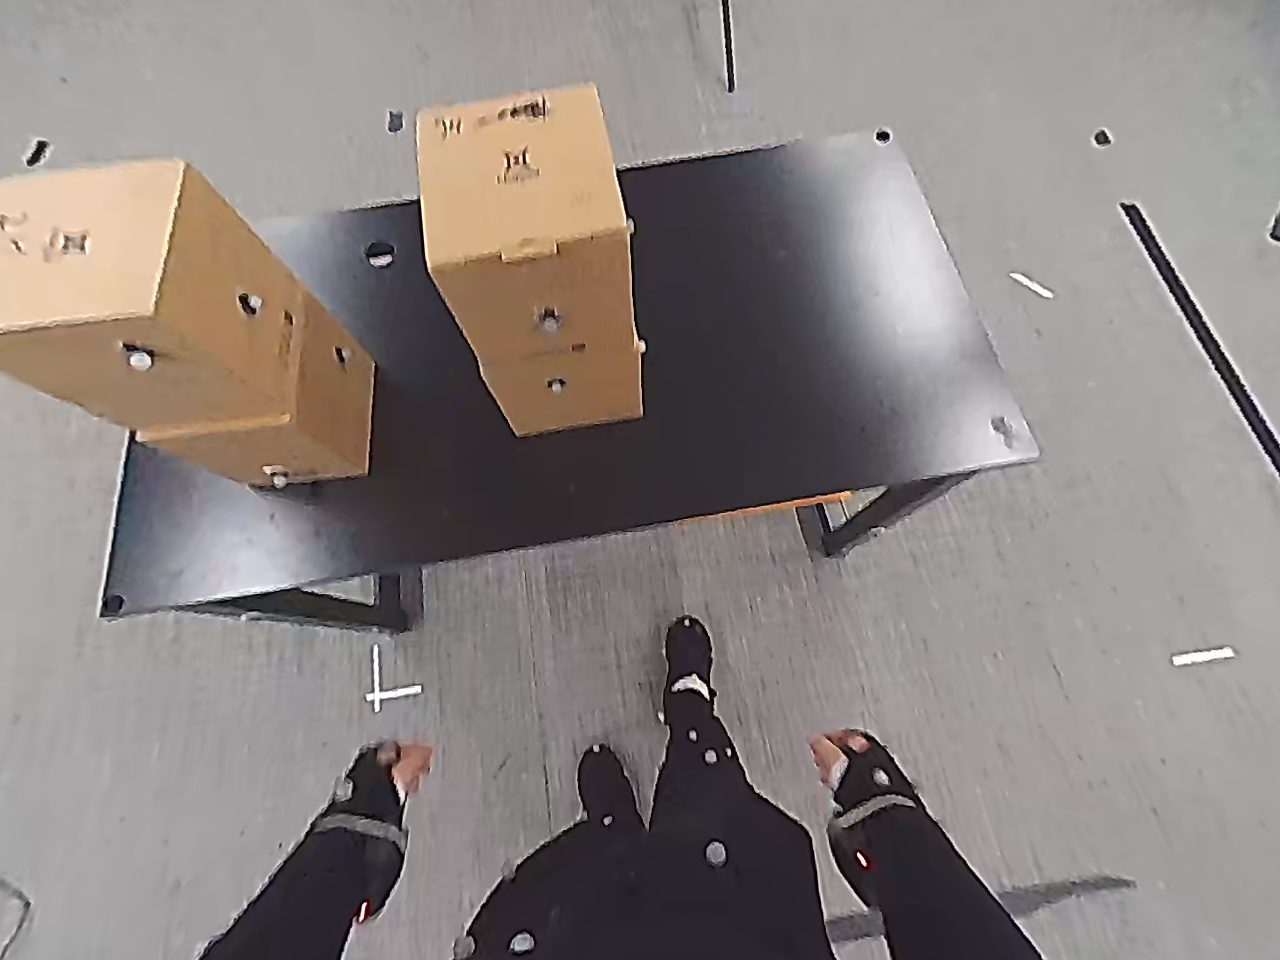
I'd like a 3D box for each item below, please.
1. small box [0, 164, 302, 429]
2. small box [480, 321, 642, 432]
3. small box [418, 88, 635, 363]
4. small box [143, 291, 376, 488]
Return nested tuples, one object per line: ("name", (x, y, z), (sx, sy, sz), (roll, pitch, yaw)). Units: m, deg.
("small box", (-0.462, -0.162, 0.519), (0.179, 0.176, 0.168), (-7, 70, 0))
("small box", (-0.096, -0.174, 0.686), (0.179, 0.176, 0.168), (-9, 71, -2))
("small box", (-0.100, -0.232, 0.533), (0.168, 0.176, 0.179), (-10, 71, -2))
("small box", (-0.450, -0.104, 0.673), (0.168, 0.176, 0.179), (-7, 72, 0))
